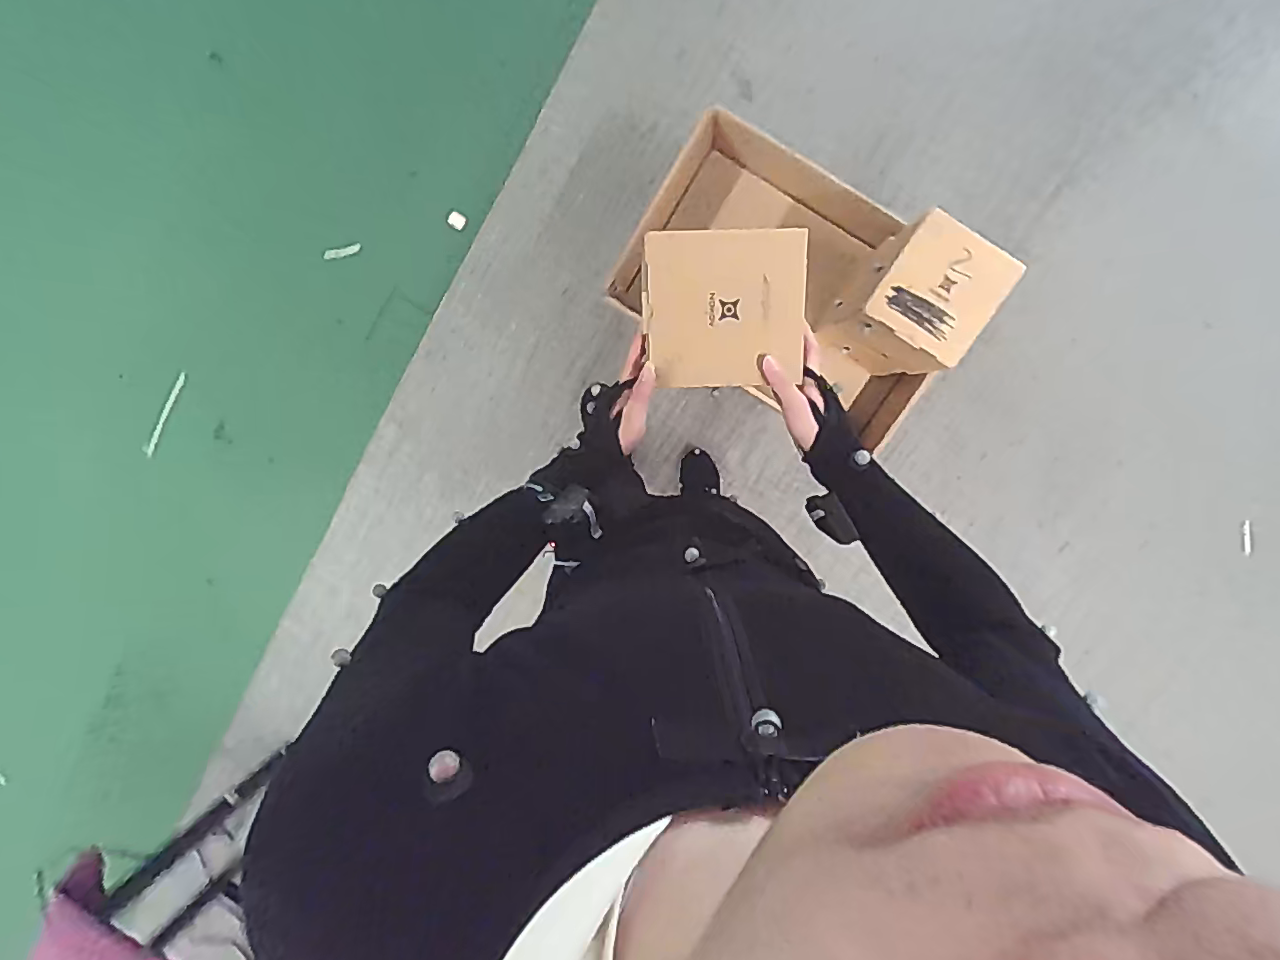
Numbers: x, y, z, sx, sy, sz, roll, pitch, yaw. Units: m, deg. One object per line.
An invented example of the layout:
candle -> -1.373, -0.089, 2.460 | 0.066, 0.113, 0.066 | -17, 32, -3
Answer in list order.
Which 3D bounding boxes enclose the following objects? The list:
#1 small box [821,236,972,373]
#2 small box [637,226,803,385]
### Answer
small box -> 0.474, -0.323, 1.033 | 0.168, 0.176, 0.179 | 34, 101, 0
small box -> 0.087, -0.201, 0.662 | 0.179, 0.176, 0.168 | -2, 102, -1
